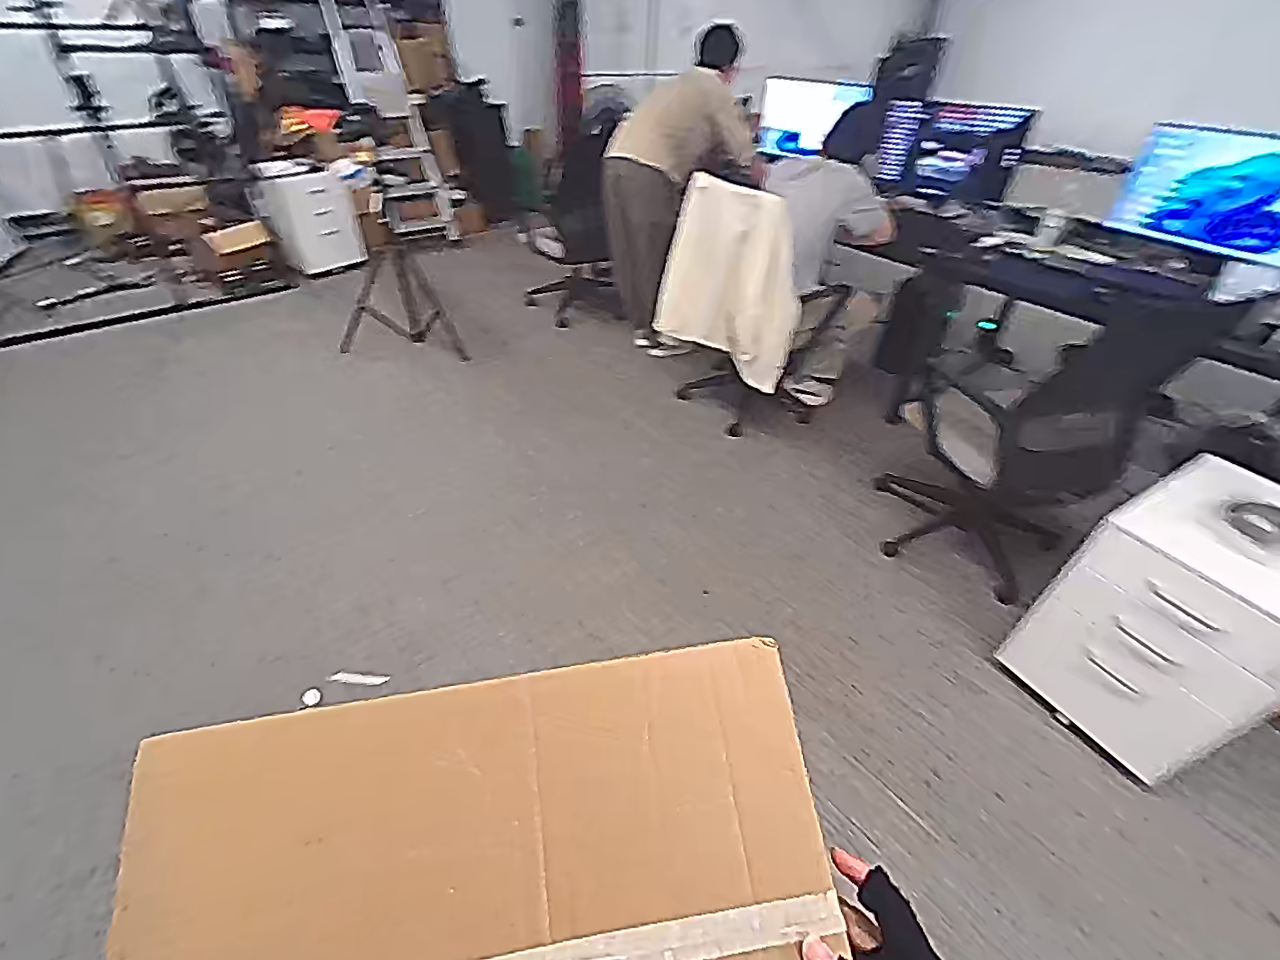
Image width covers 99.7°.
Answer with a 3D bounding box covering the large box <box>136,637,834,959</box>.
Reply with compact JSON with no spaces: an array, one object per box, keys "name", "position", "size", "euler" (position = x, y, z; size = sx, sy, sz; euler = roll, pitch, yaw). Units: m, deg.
[{"name":"large box","position":[-0.092,0.335,0.449],"size":[0.408,0.320,0.320],"euler":[-8,70,-5]}]
